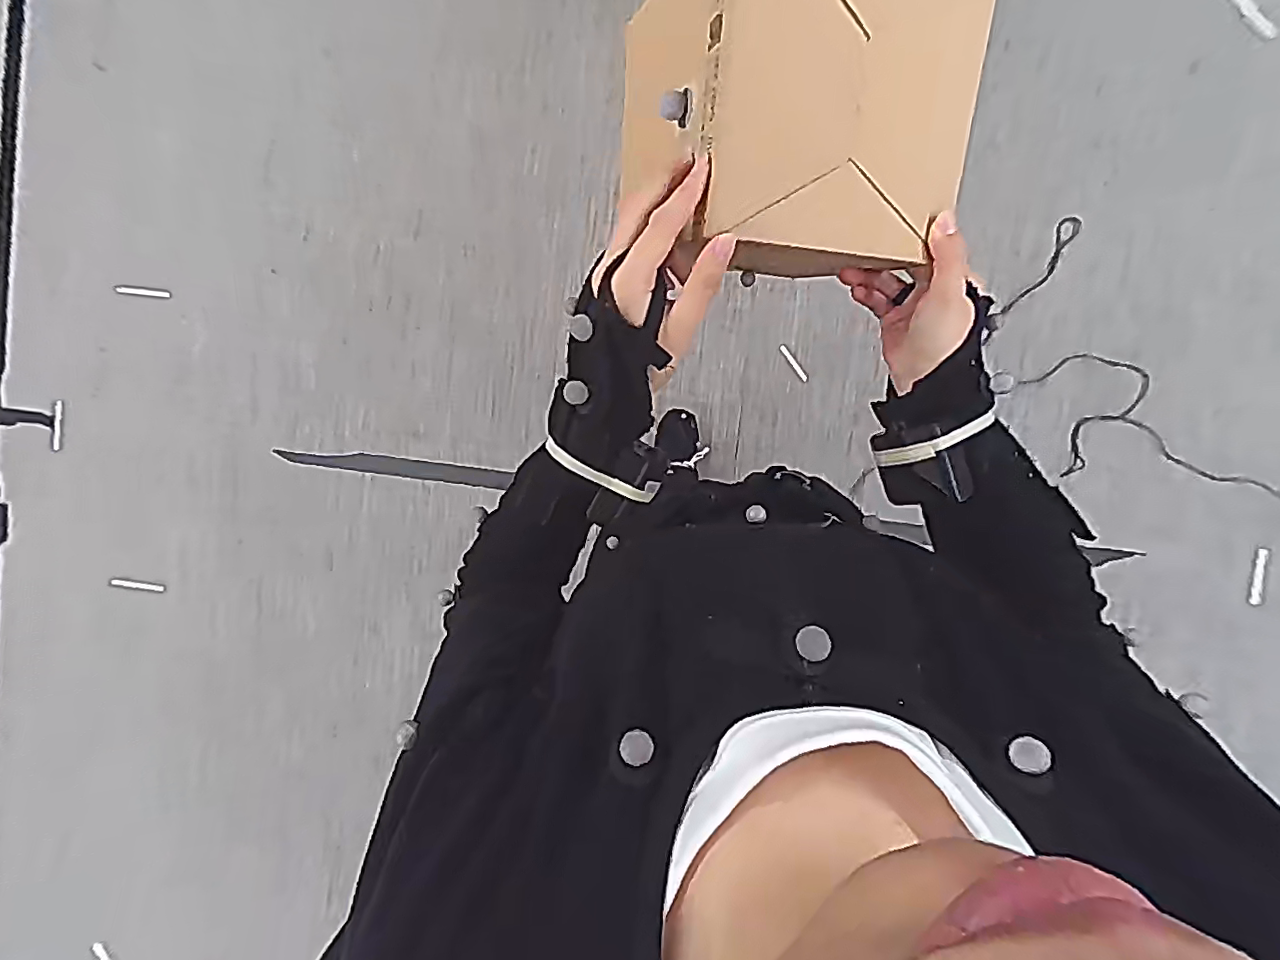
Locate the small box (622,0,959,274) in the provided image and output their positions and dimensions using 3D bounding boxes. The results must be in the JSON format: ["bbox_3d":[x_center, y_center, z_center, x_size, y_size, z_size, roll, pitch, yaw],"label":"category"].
[{"bbox_3d":[0.099,-0.246,0.391,0.179,0.176,0.168,-3,106,-22],"label":"small box"}]
